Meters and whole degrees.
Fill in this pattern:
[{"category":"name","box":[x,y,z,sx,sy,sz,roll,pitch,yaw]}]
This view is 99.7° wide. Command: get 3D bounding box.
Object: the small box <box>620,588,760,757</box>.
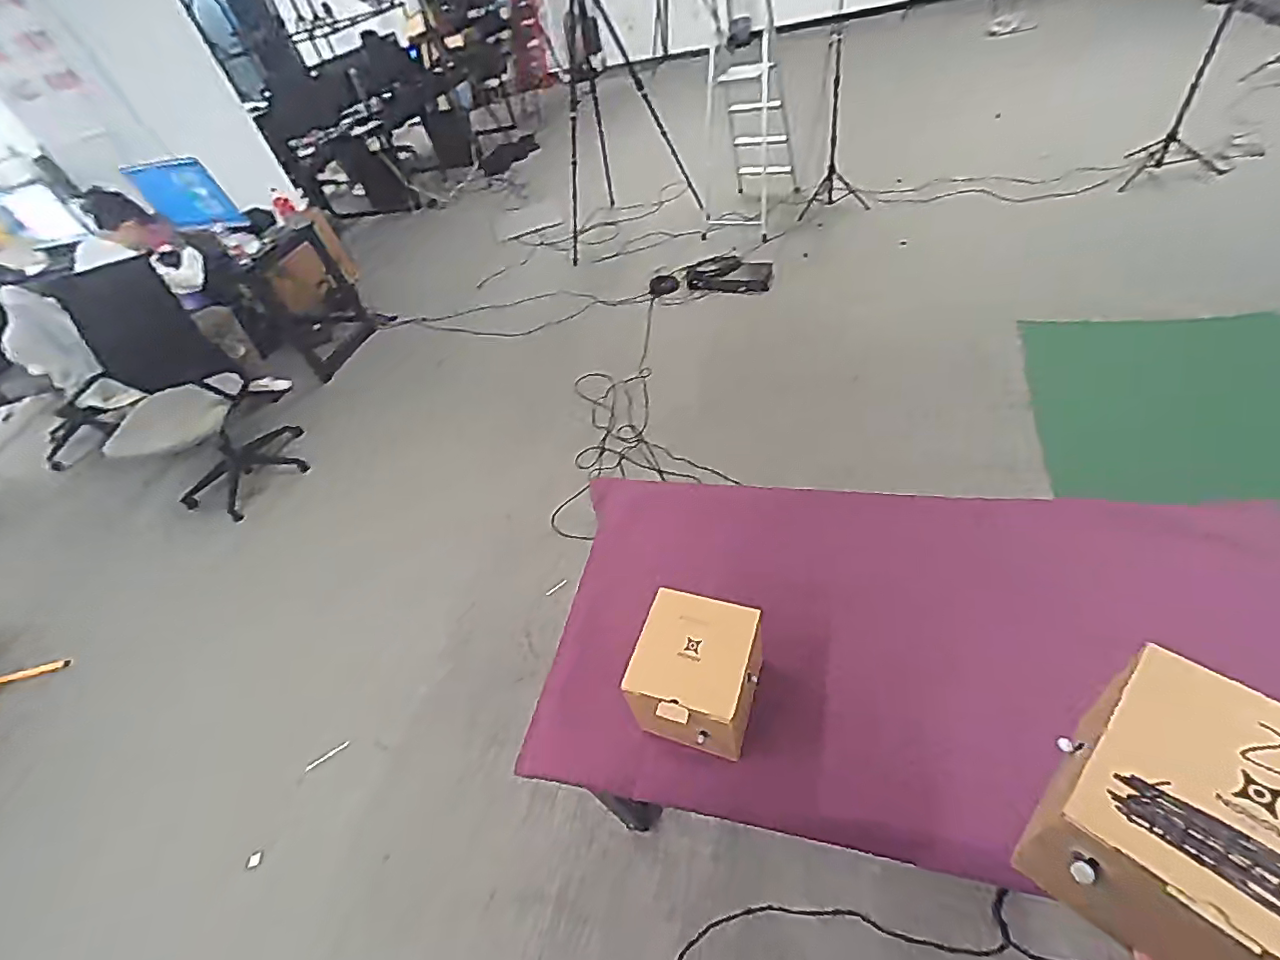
[{"category":"small box","box":[0.090,0.303,0.849,0.168,0.176,0.179,9,49,22]}]
